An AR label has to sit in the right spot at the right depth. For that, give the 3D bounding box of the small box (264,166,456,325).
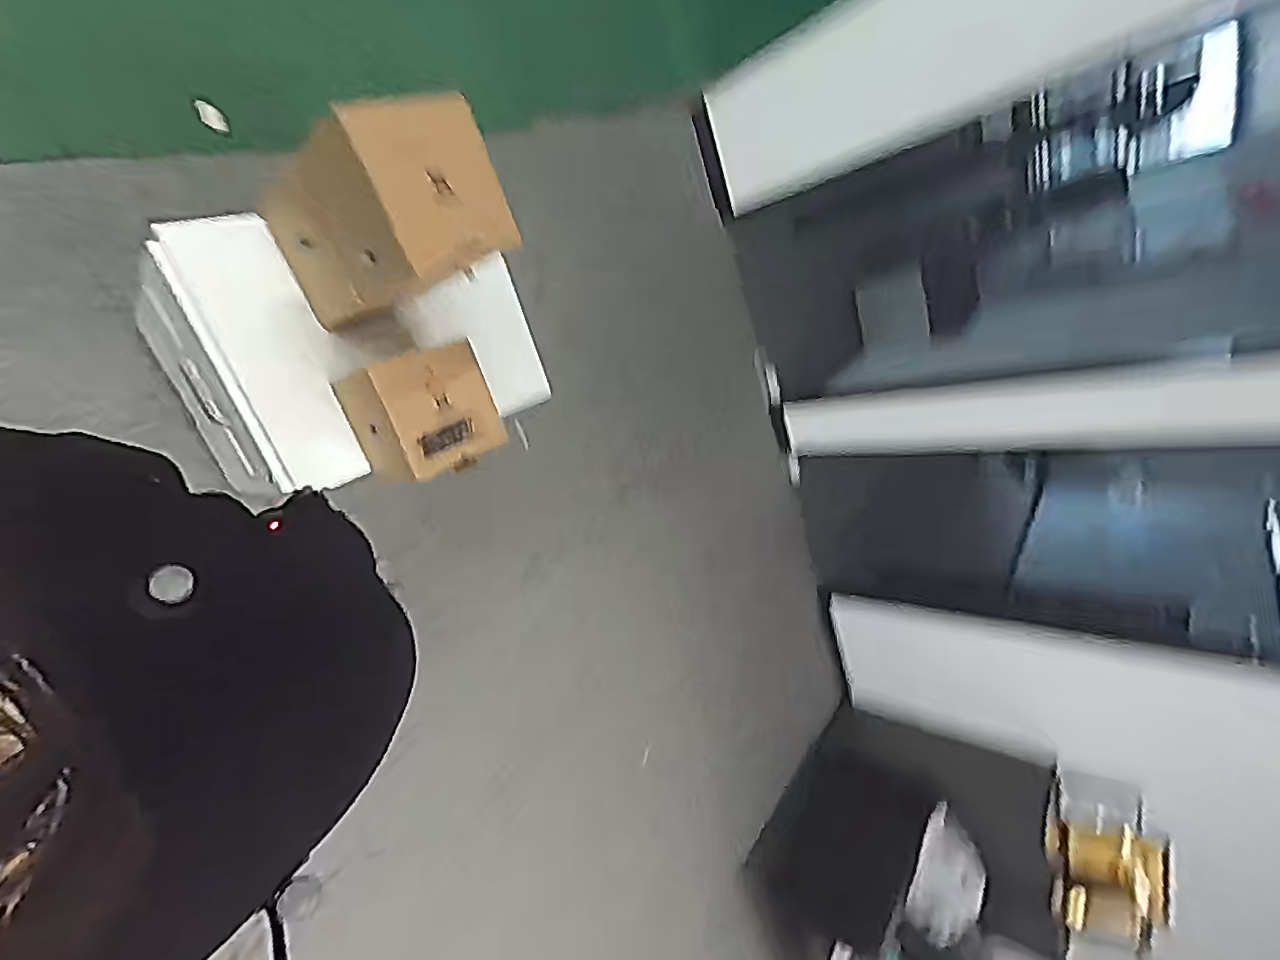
[{"bbox_3d":[-0.415,-0.348,0.801,0.168,0.176,0.179,-37,117,-38],"label":"small box"}]

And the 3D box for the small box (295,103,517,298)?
[{"bbox_3d":[-0.295,-0.344,0.689,0.168,0.176,0.179,-40,119,-39],"label":"small box"}]
